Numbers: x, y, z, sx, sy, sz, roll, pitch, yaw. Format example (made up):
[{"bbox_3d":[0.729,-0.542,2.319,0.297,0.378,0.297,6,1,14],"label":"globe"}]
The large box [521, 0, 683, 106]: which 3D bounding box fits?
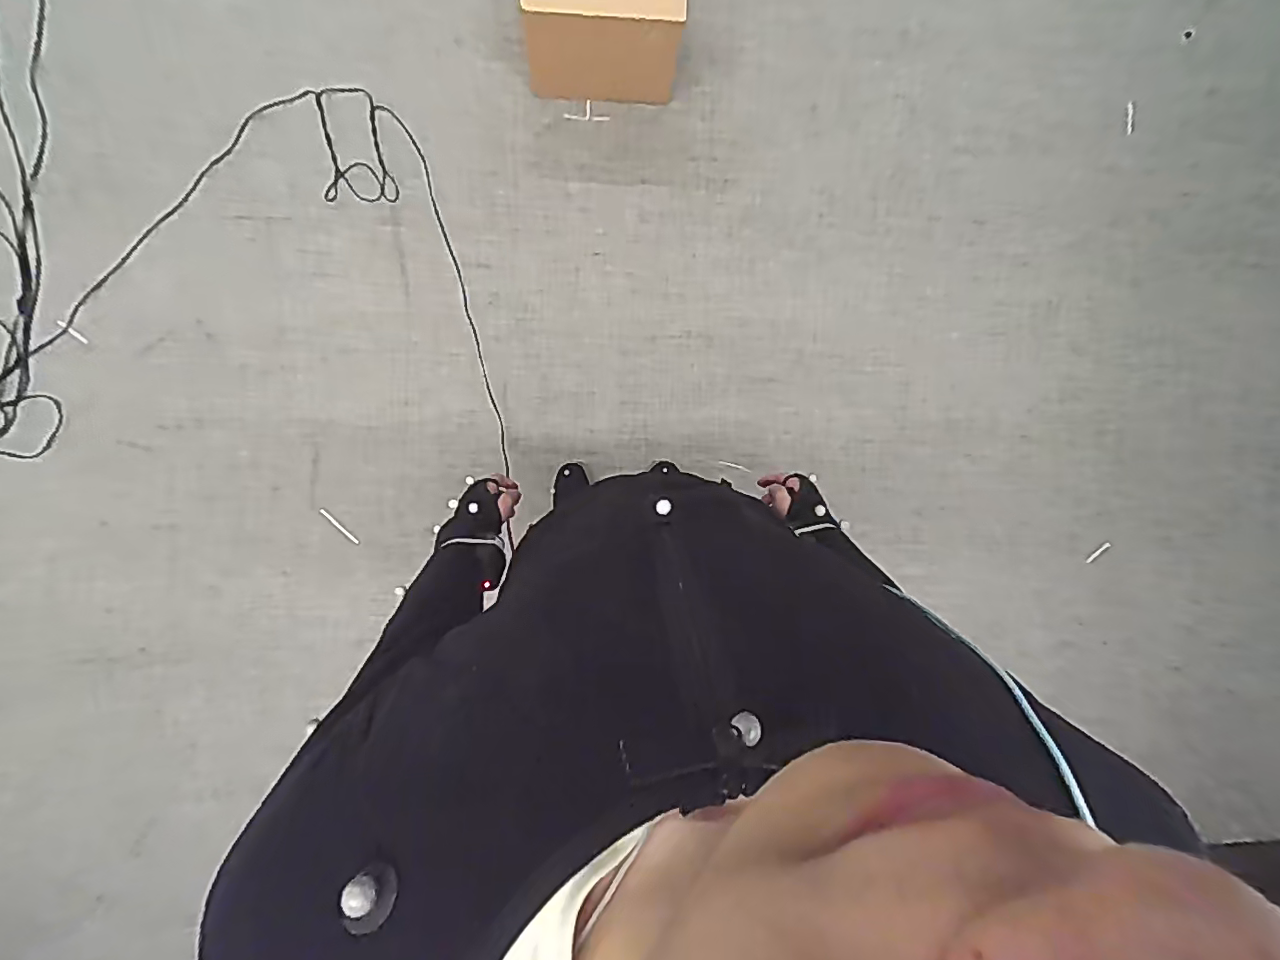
[{"bbox_3d":[-0.111,-1.271,1.470,0.408,0.320,0.320,-1,92,-5],"label":"large box"}]
